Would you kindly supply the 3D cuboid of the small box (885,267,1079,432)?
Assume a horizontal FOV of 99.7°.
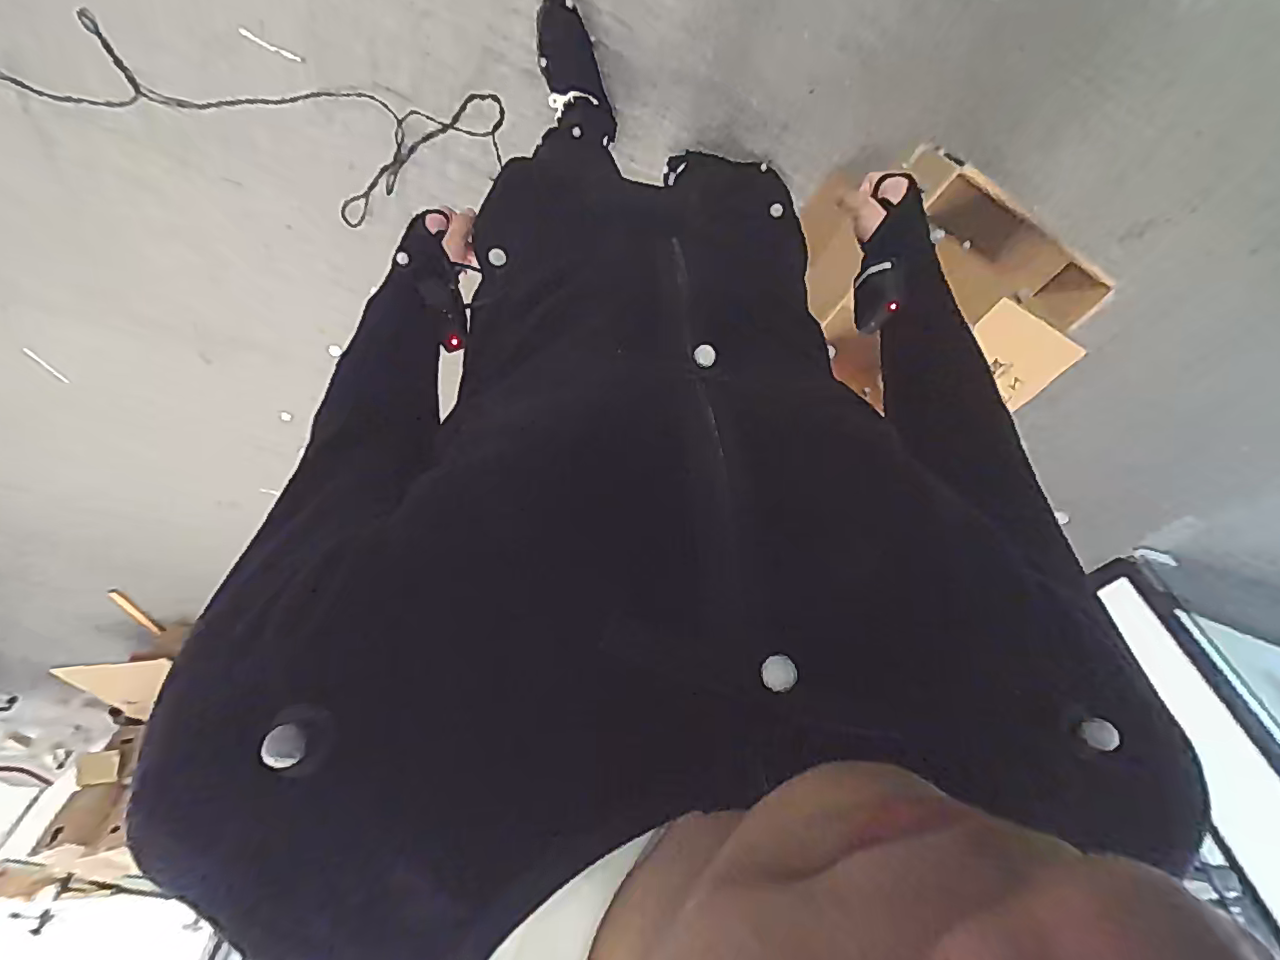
[{"bbox_3d":[0.531,-0.216,0.870,0.179,0.176,0.168,23,130,-16],"label":"small box"}]
